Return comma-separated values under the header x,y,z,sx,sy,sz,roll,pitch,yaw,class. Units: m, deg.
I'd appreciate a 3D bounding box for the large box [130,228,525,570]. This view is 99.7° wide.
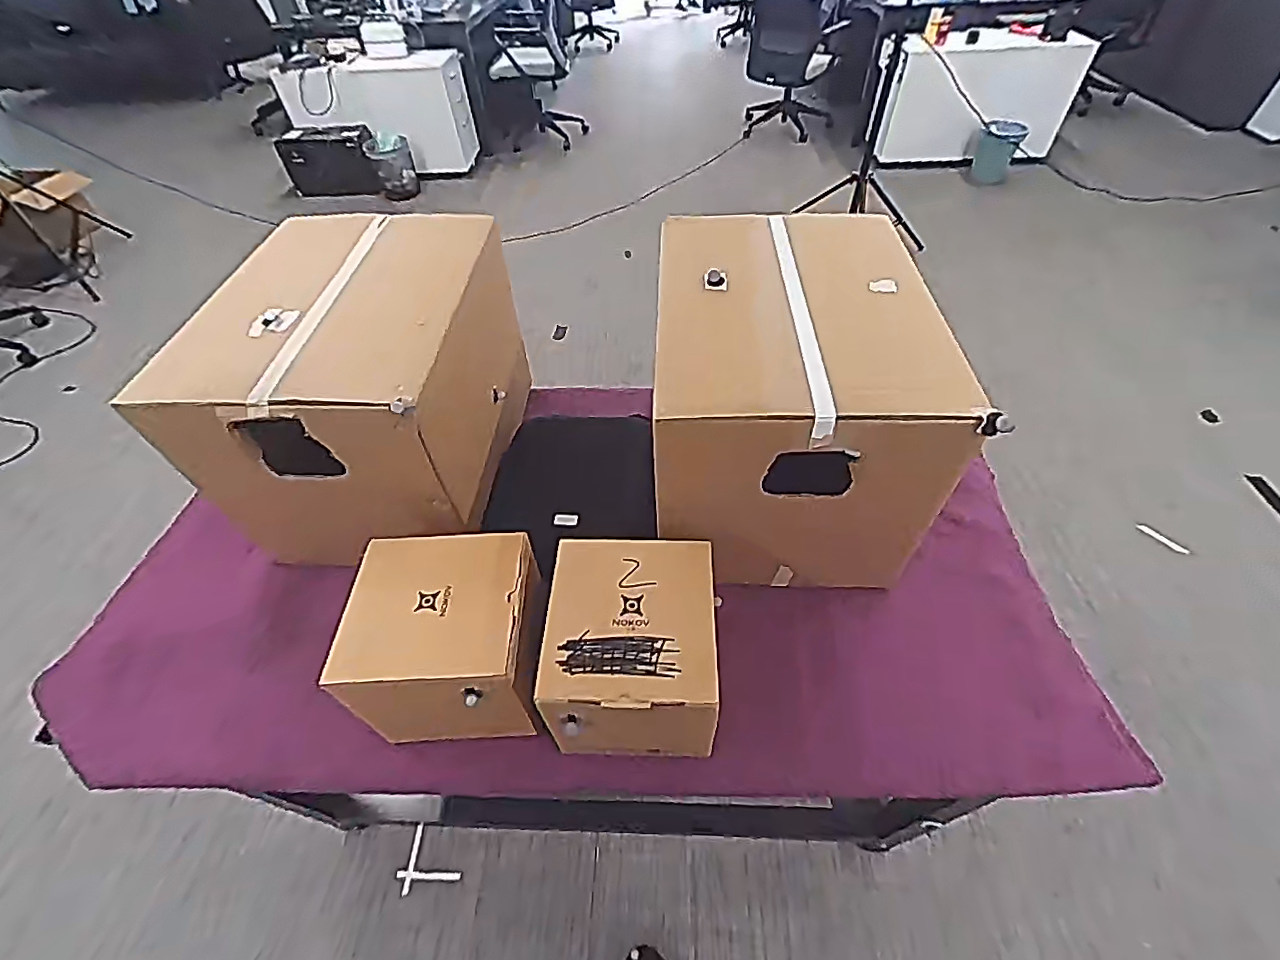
x,y,z,sx,sy,sz,roll,pitch,yaw,class
-0.368,-0.117,0.787,0.320,0.320,0.408,-1,52,3,large box
